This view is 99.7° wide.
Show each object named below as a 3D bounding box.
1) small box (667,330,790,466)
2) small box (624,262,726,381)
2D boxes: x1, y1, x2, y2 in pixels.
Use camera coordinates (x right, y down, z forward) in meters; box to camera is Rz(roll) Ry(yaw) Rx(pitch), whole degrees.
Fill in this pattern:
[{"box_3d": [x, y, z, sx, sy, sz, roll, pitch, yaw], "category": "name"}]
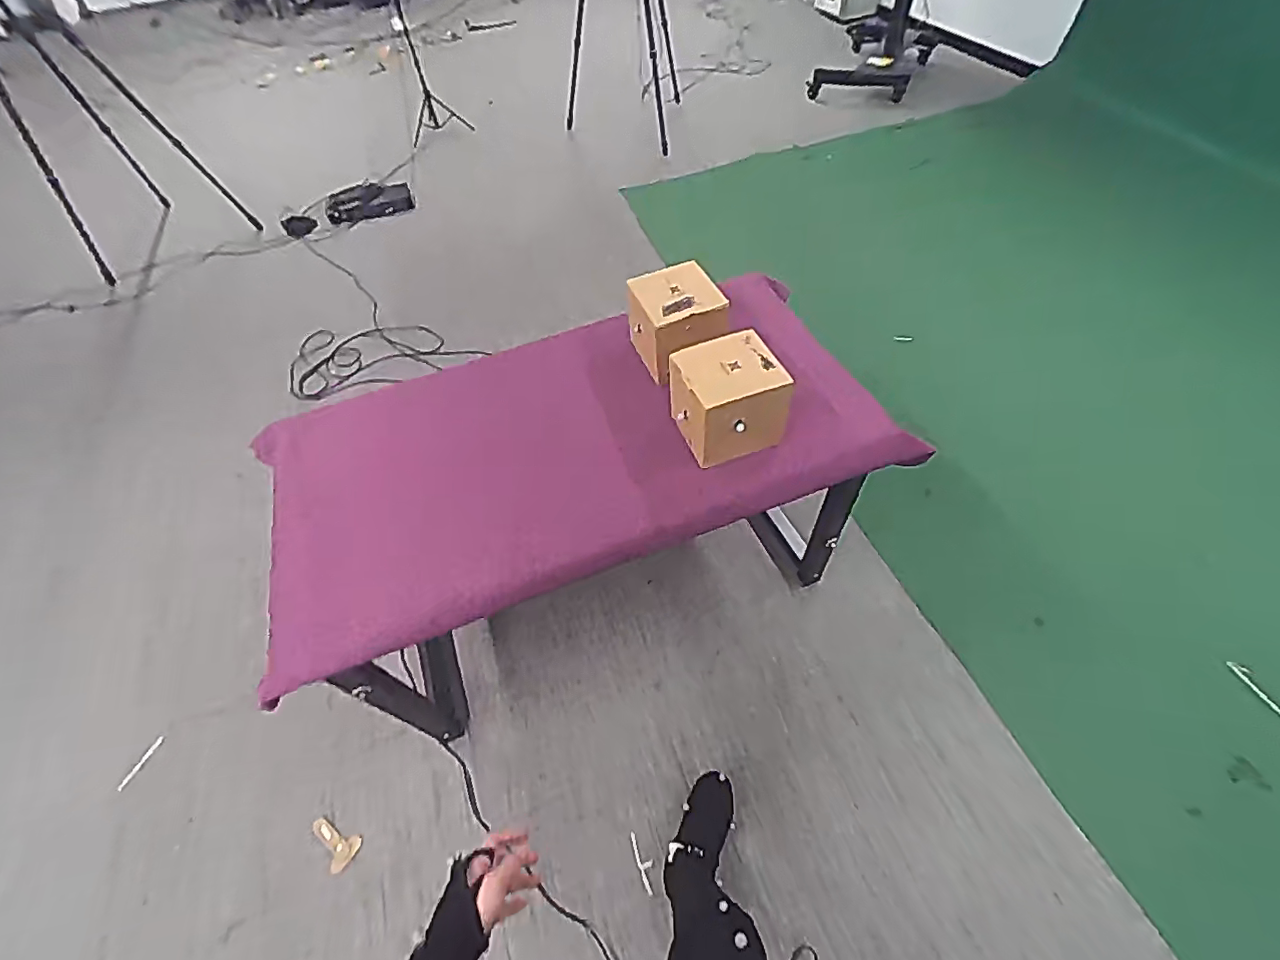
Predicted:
[{"box_3d": [0.164, -0.153, 1.037, 0.179, 0.176, 0.168, -19, 54, -7], "category": "small box"}, {"box_3d": [0.076, -0.338, 1.181, 0.168, 0.176, 0.179, -19, 54, -9], "category": "small box"}]
